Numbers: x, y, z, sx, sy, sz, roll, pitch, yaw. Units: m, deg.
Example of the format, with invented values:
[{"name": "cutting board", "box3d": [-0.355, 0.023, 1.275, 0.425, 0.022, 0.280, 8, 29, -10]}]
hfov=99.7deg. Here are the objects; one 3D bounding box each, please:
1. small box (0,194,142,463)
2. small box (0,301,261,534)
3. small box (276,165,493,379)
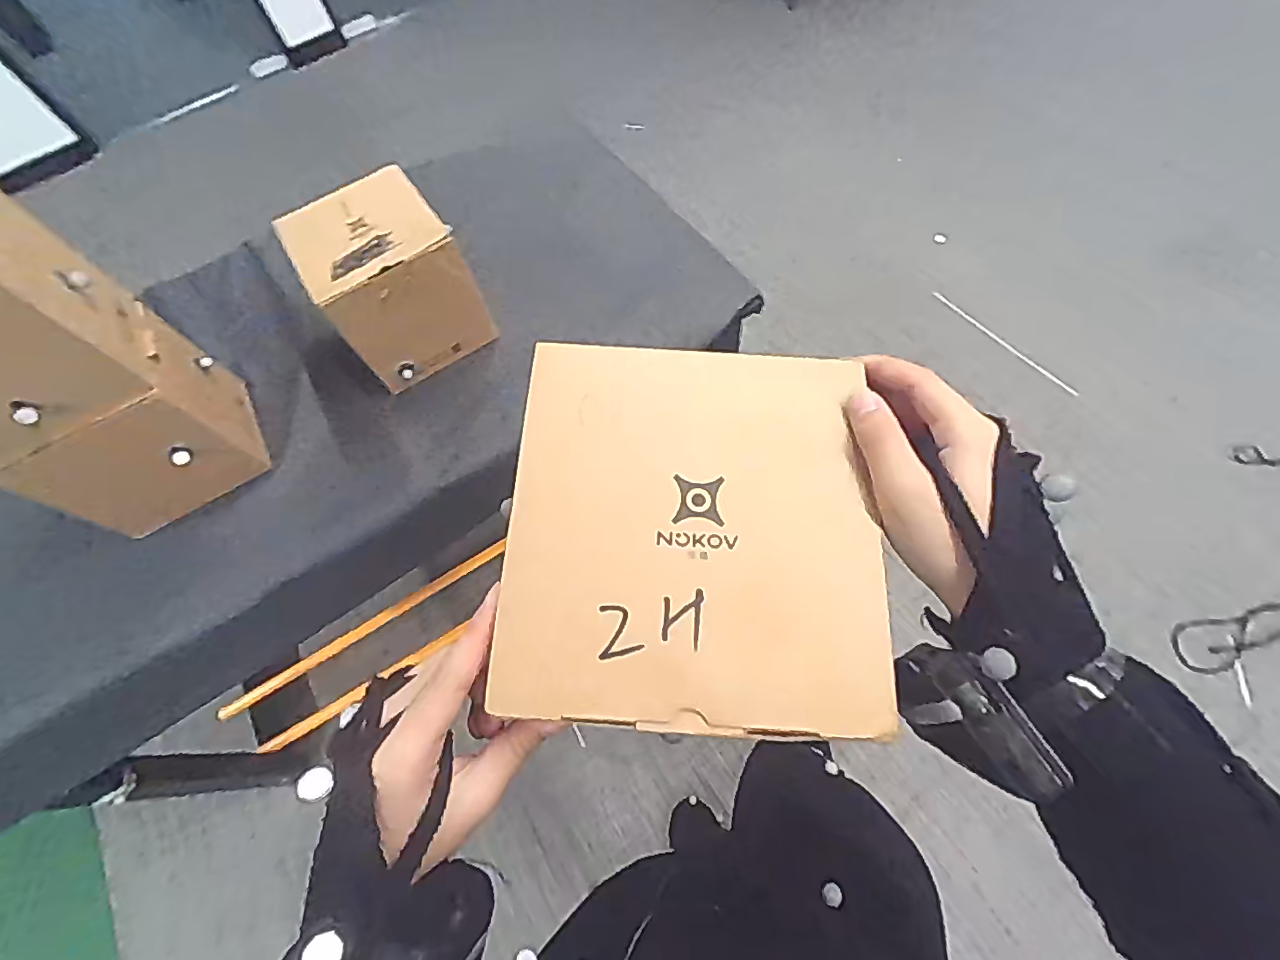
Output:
[{"name": "small box", "box3d": [-0.611, -0.144, 0.495, 0.179, 0.176, 0.168, -33, 64, -11]}, {"name": "small box", "box3d": [-0.589, -0.066, 0.638, 0.179, 0.176, 0.168, -33, 64, -9]}, {"name": "small box", "box3d": [-0.318, -0.256, 0.702, 0.168, 0.176, 0.179, -33, 64, -11]}]
